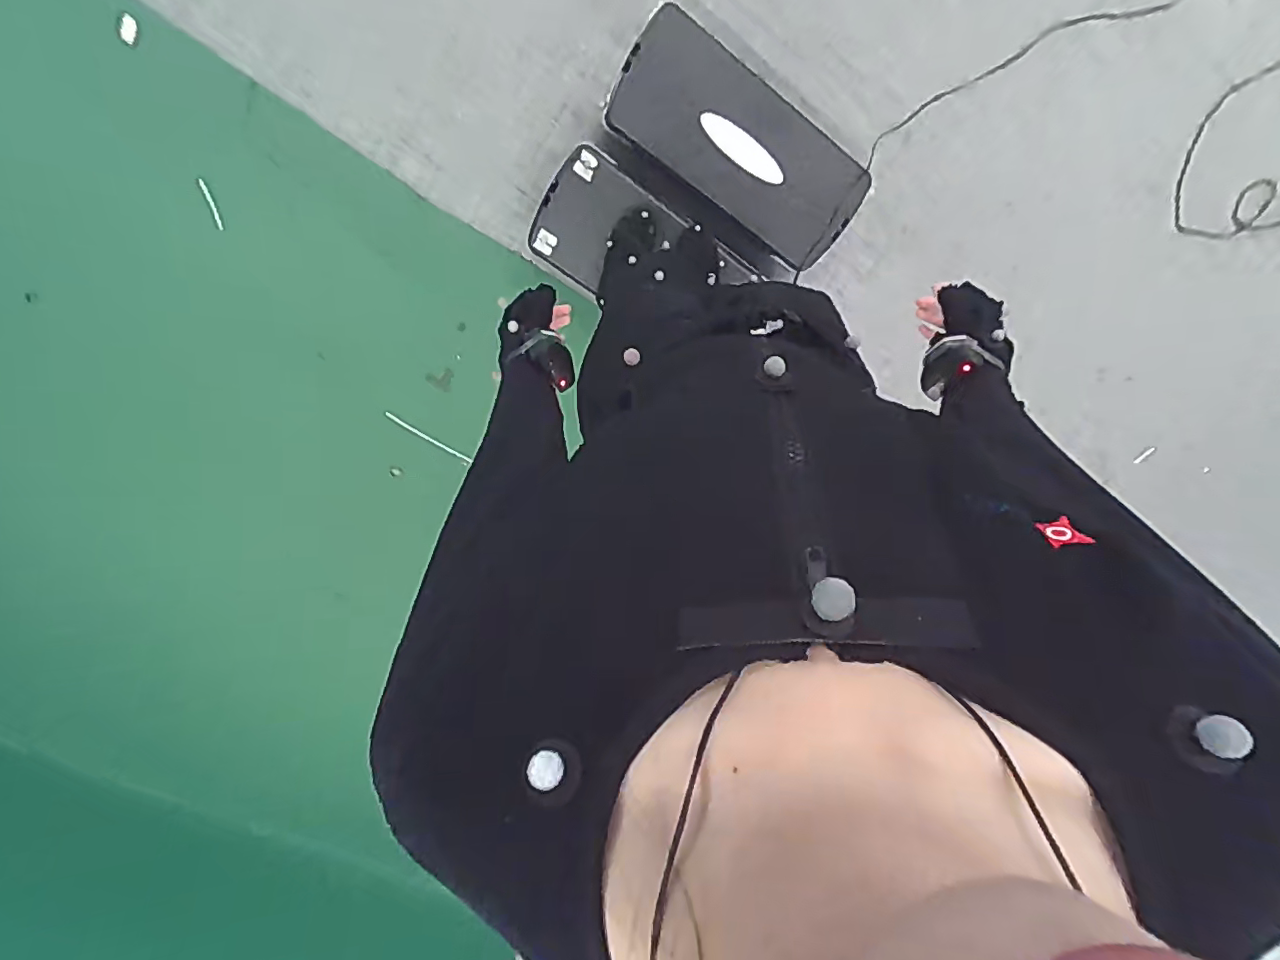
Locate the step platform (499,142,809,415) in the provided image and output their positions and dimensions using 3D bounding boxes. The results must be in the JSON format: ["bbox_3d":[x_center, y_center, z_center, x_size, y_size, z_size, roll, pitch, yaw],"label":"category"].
[{"bbox_3d":[0.039,-0.444,1.252,0.684,0.204,0.286,30,113,-16],"label":"step platform"}]
